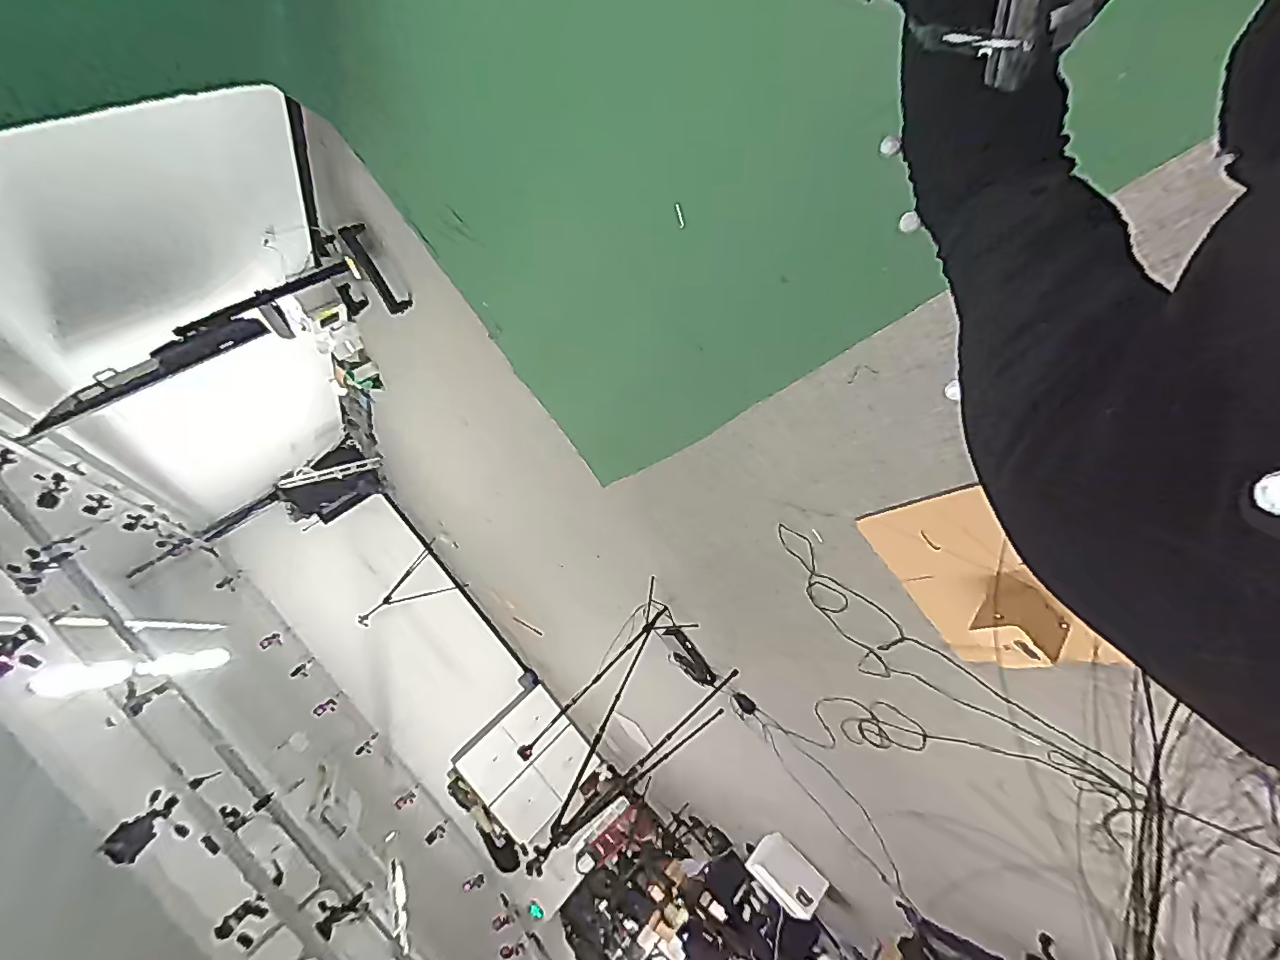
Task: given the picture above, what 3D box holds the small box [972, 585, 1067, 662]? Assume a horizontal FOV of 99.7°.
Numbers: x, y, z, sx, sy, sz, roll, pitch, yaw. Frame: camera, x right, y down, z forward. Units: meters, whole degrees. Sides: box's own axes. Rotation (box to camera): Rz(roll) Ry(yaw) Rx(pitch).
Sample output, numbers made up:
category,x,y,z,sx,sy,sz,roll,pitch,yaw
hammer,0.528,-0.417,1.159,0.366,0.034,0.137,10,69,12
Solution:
category,x,y,z,sx,sy,sz,roll,pitch,yaw
small box,1.208,0.452,1.711,0.168,0.176,0.179,48,152,2
